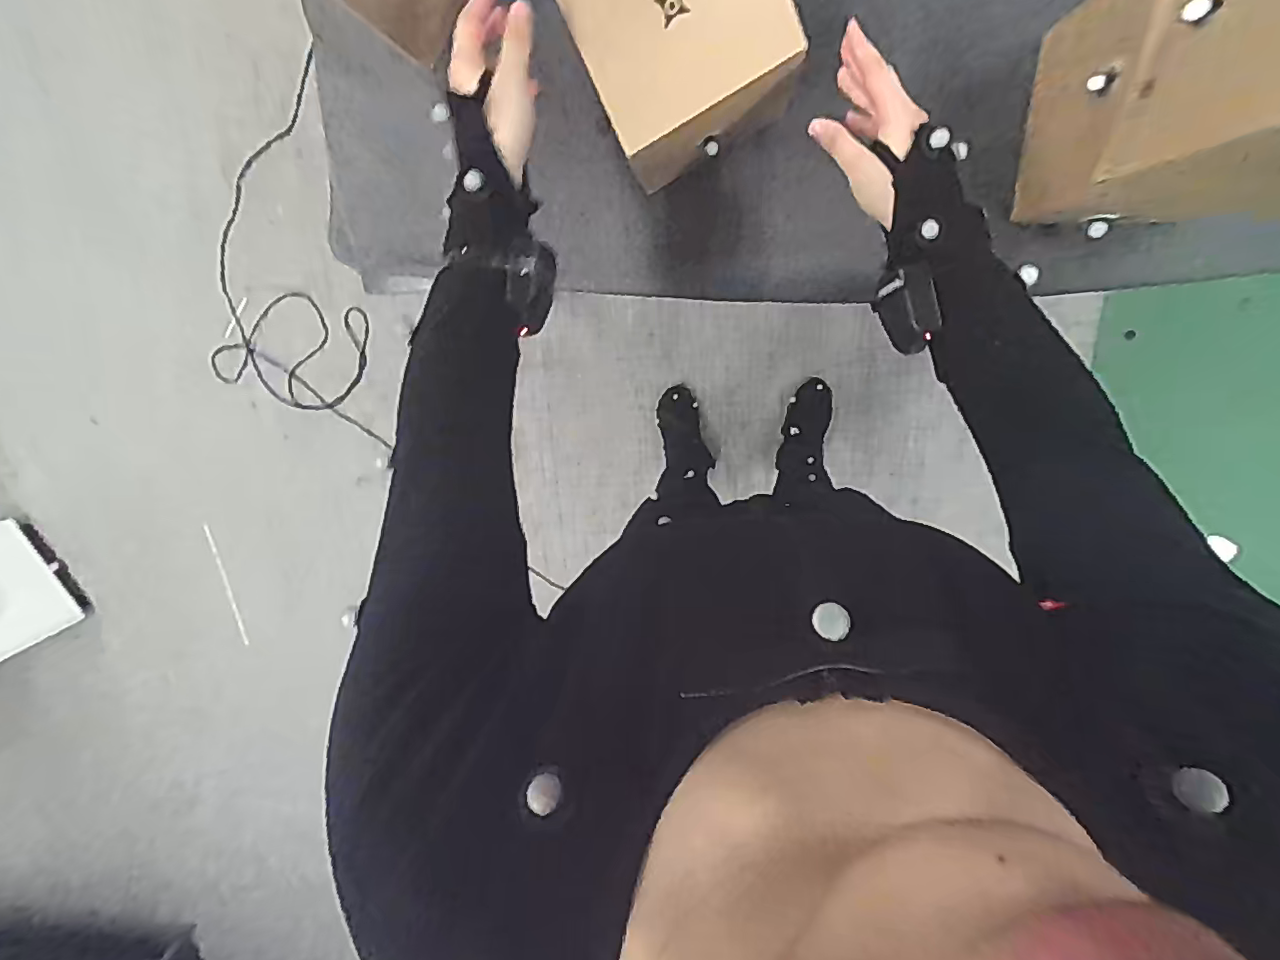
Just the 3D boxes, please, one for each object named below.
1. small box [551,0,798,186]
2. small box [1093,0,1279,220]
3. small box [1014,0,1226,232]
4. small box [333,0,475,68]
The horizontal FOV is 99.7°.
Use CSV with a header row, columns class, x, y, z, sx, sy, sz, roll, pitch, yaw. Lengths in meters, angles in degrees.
class,x,y,z,sx,sy,sz,roll,pitch,yaw
small box,0.033,-0.408,0.514,0.168,0.176,0.179,-24,102,14
small box,0.448,-0.268,0.330,0.179,0.176,0.168,12,108,5
small box,0.470,-0.329,0.480,0.168,0.176,0.179,2,108,8
small box,-0.265,-0.547,0.511,0.179,0.176,0.168,39,109,-6
